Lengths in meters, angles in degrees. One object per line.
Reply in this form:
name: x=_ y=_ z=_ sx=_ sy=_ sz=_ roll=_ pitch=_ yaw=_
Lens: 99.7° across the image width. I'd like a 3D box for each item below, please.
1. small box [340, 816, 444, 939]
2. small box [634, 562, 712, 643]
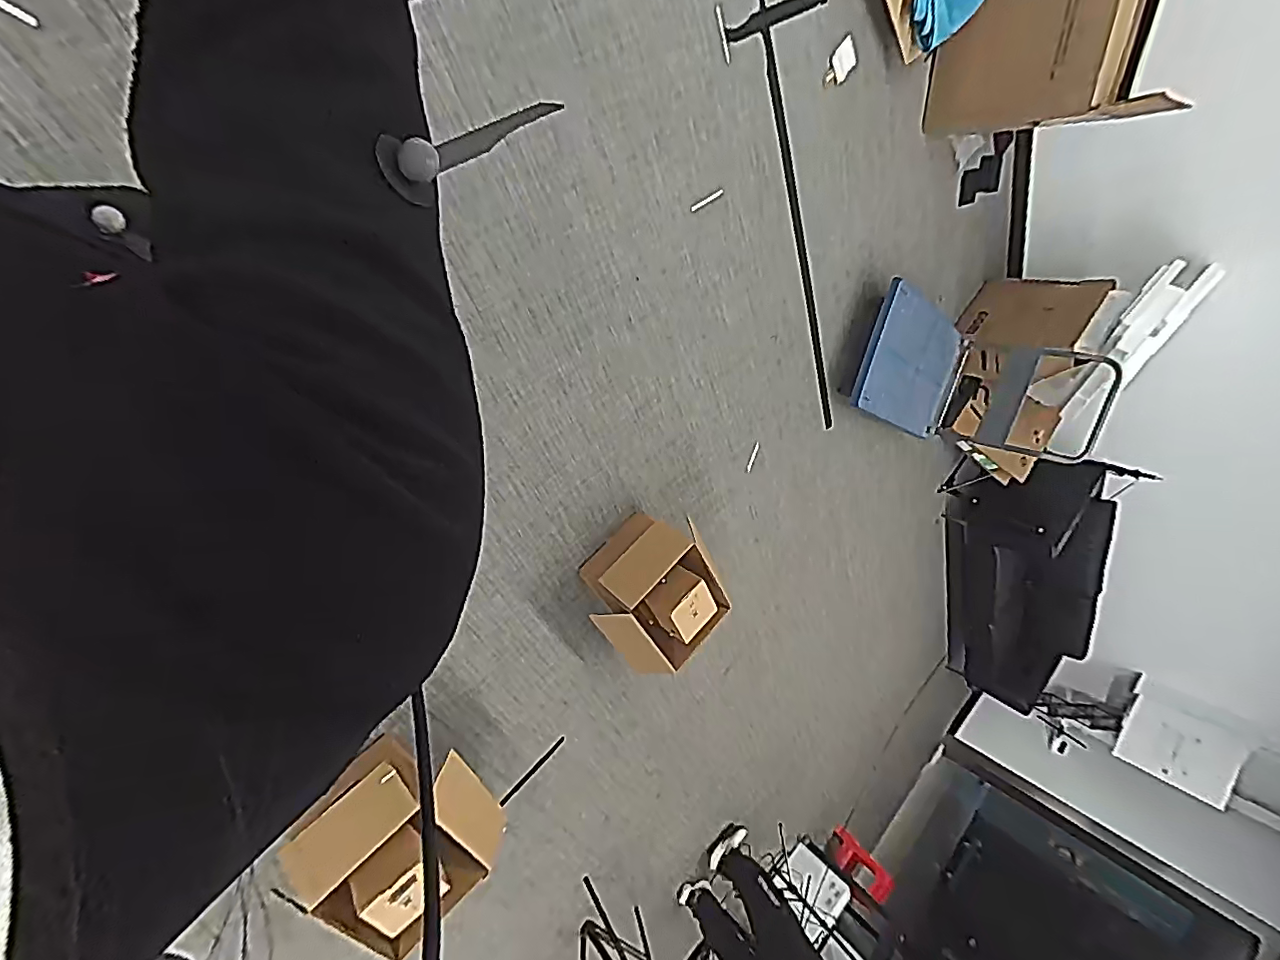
small box: x=-0.648 y=1.024 z=1.407 sx=0.168 sy=0.176 sz=0.179 roll=-33 pitch=128 yaw=-24
small box: x=0.110 y=0.409 z=1.834 sx=0.168 sy=0.176 sz=0.179 roll=-43 pitch=129 yaw=-22
